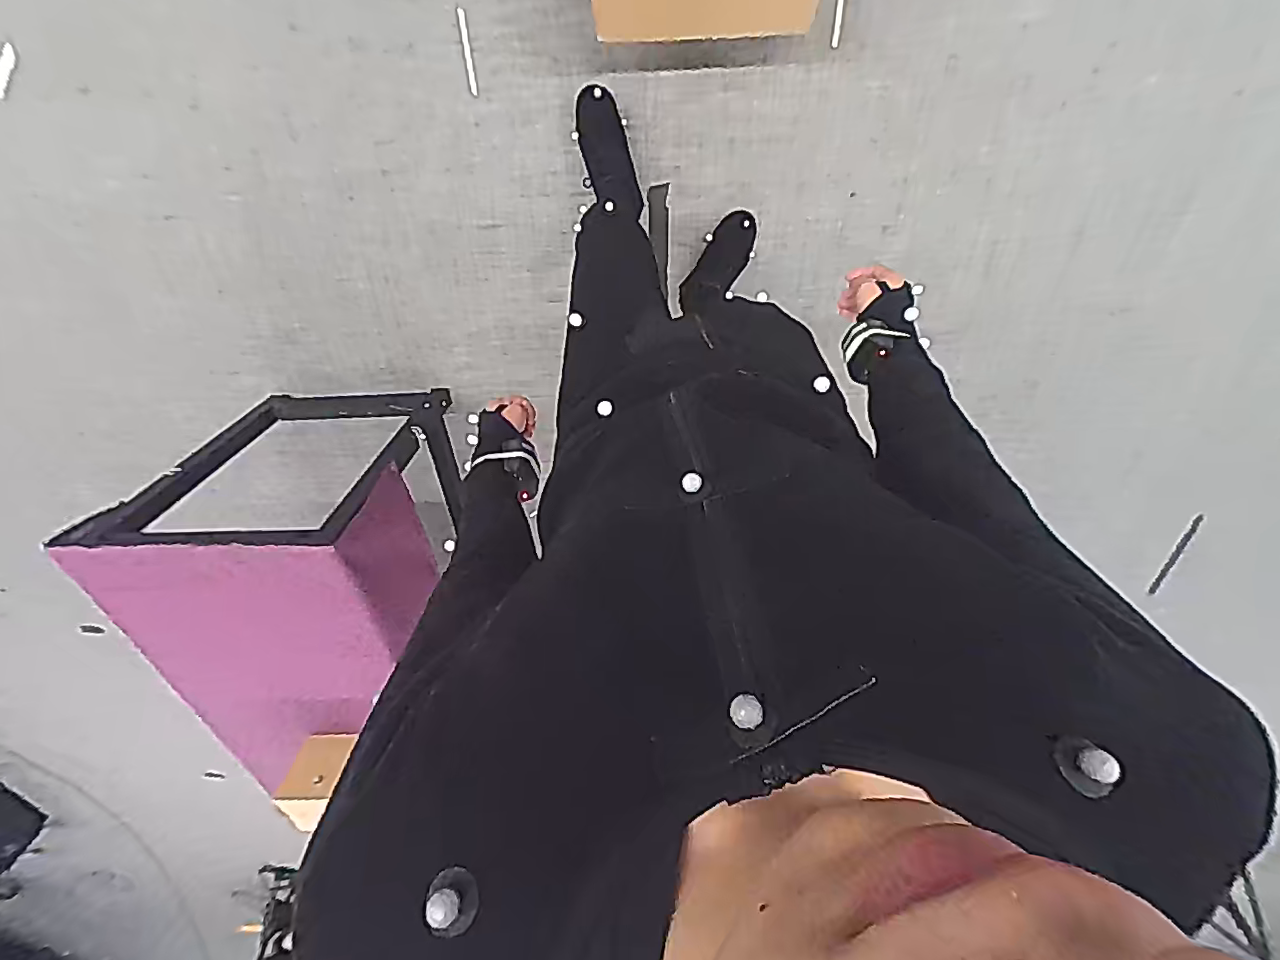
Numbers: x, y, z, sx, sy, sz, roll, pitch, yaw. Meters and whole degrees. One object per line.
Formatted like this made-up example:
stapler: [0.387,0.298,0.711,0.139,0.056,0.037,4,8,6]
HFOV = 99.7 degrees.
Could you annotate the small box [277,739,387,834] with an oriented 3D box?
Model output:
small box: [-0.797,0.806,1.428,0.179,0.176,0.168,-3,124,4]
